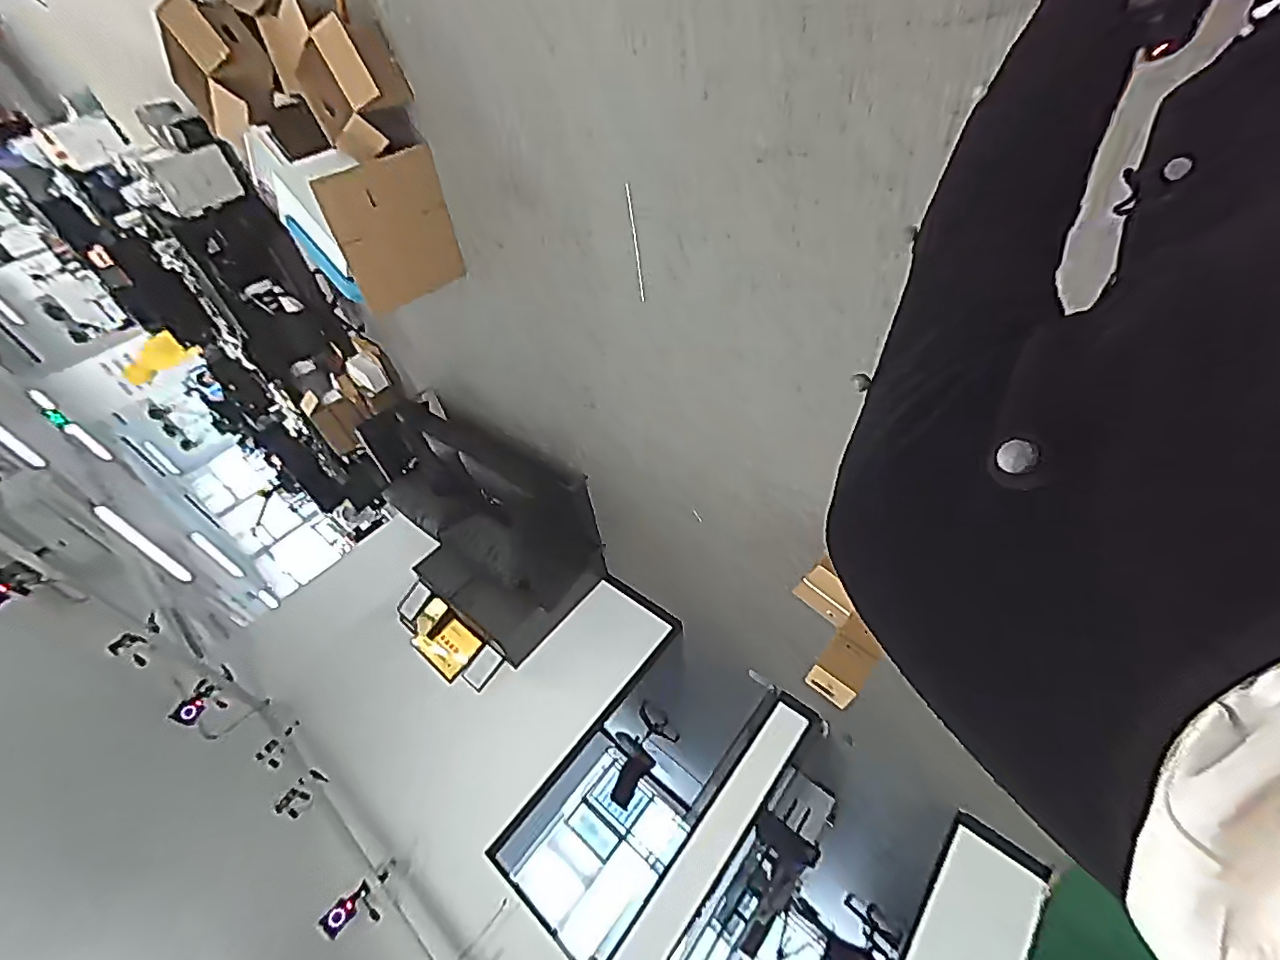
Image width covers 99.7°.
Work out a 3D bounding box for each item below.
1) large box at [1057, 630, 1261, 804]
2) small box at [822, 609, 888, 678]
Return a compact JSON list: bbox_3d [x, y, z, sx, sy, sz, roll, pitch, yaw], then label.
[{"bbox_3d":[1.633,0.716,1.708,0.408,0.320,0.320,-6,123,54],"label":"large box"},{"bbox_3d":[0.856,0.644,2.147,0.168,0.176,0.179,35,147,23],"label":"small box"}]
